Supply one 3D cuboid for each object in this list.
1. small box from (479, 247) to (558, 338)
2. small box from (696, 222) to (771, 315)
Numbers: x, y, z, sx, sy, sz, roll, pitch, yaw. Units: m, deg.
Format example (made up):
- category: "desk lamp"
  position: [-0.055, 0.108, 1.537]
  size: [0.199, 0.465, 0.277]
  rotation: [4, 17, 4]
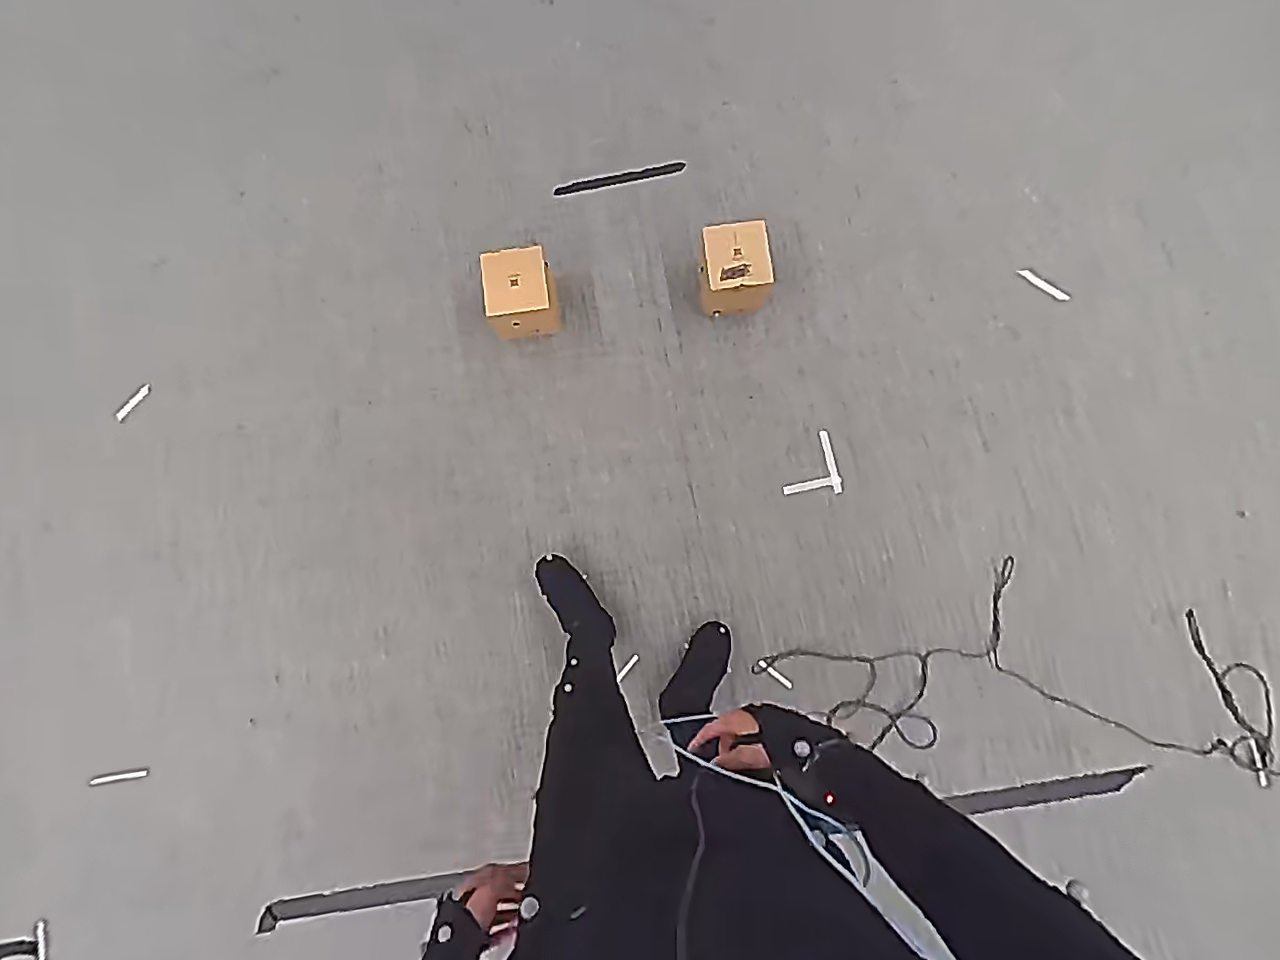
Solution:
- category: "small box"
  position: [-0.324, -0.498, 1.467]
  size: [0.168, 0.176, 0.179]
  rotation: [-8, 82, 1]
- category: "small box"
  position: [0.246, -0.561, 1.458]
  size: [0.168, 0.176, 0.179]
  rotation: [-6, 82, 0]
